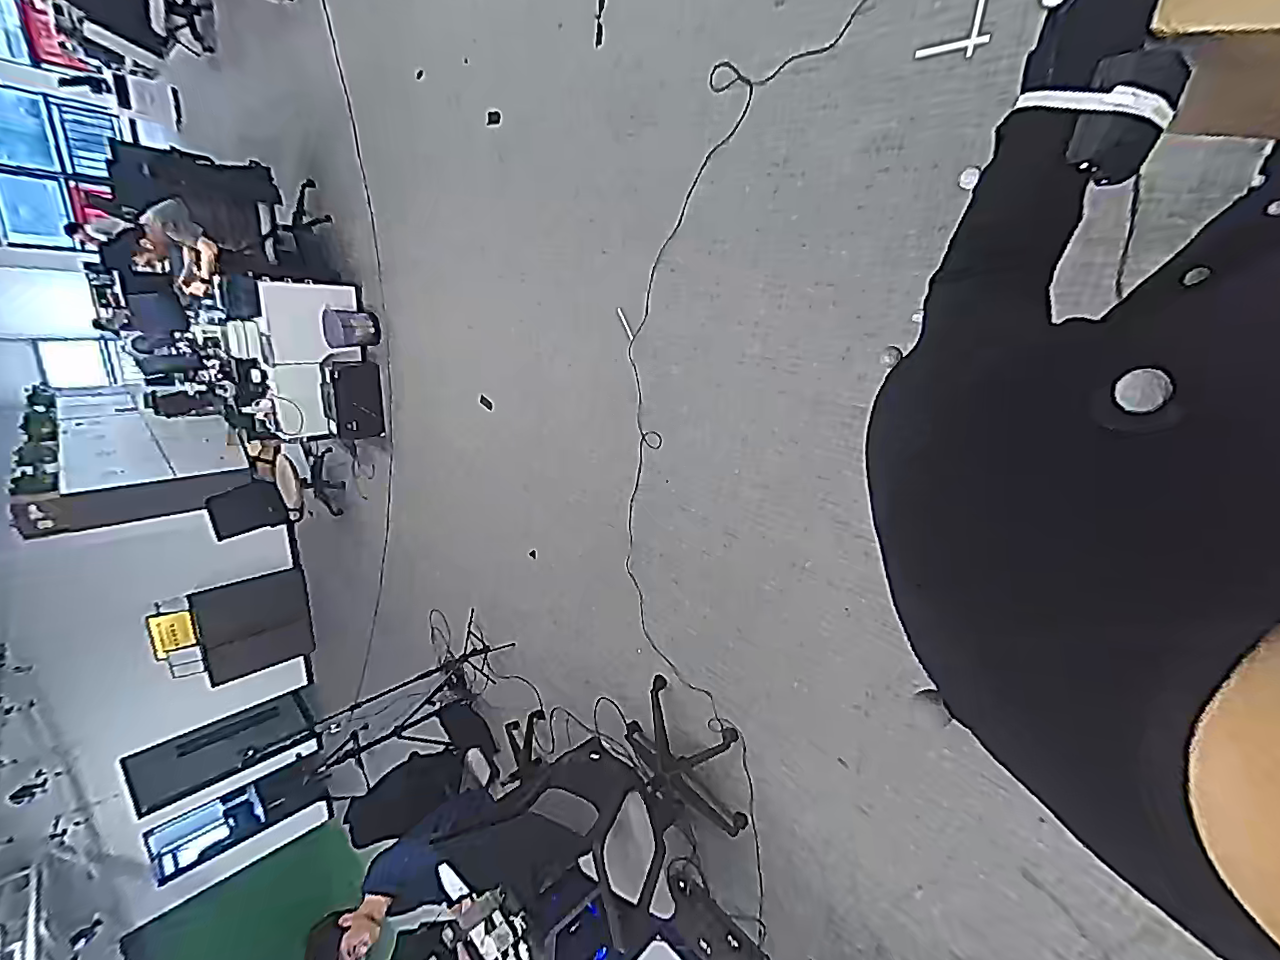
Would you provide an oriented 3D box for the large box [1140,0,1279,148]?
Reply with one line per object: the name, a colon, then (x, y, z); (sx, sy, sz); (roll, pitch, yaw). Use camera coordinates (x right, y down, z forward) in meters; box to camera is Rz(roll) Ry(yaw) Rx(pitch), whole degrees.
large box: (0.589, -0.374, 0.283); (0.408, 0.320, 0.320); (28, 123, 32)
